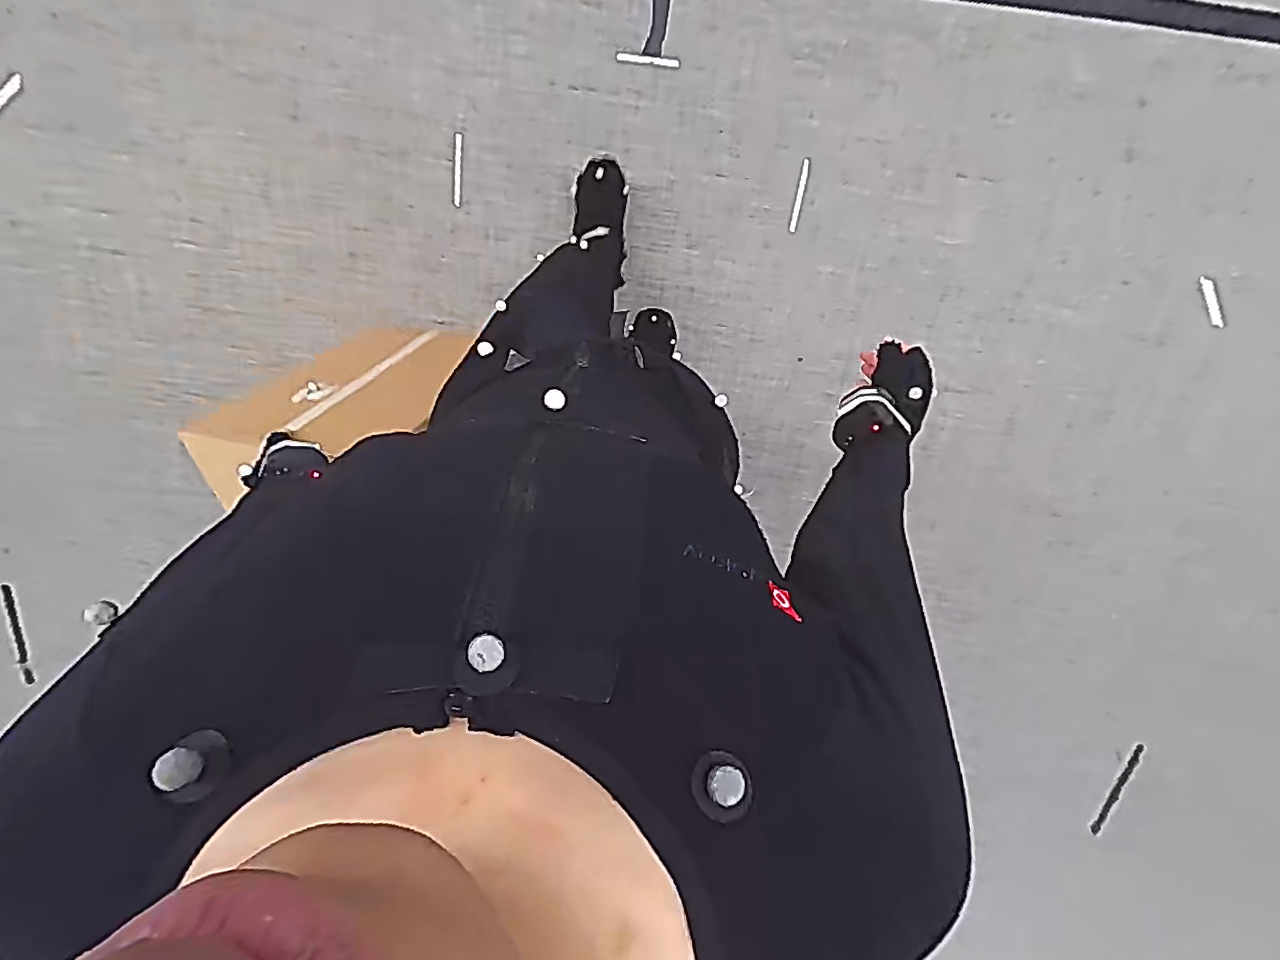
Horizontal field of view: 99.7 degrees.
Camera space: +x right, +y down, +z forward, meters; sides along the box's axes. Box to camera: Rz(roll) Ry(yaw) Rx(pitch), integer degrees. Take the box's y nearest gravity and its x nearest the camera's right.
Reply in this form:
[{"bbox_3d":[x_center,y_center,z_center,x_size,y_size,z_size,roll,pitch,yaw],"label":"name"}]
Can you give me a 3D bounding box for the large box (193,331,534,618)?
[{"bbox_3d":[-0.423,-0.033,0.956,0.320,0.408,0.320,8,128,15],"label":"large box"}]
